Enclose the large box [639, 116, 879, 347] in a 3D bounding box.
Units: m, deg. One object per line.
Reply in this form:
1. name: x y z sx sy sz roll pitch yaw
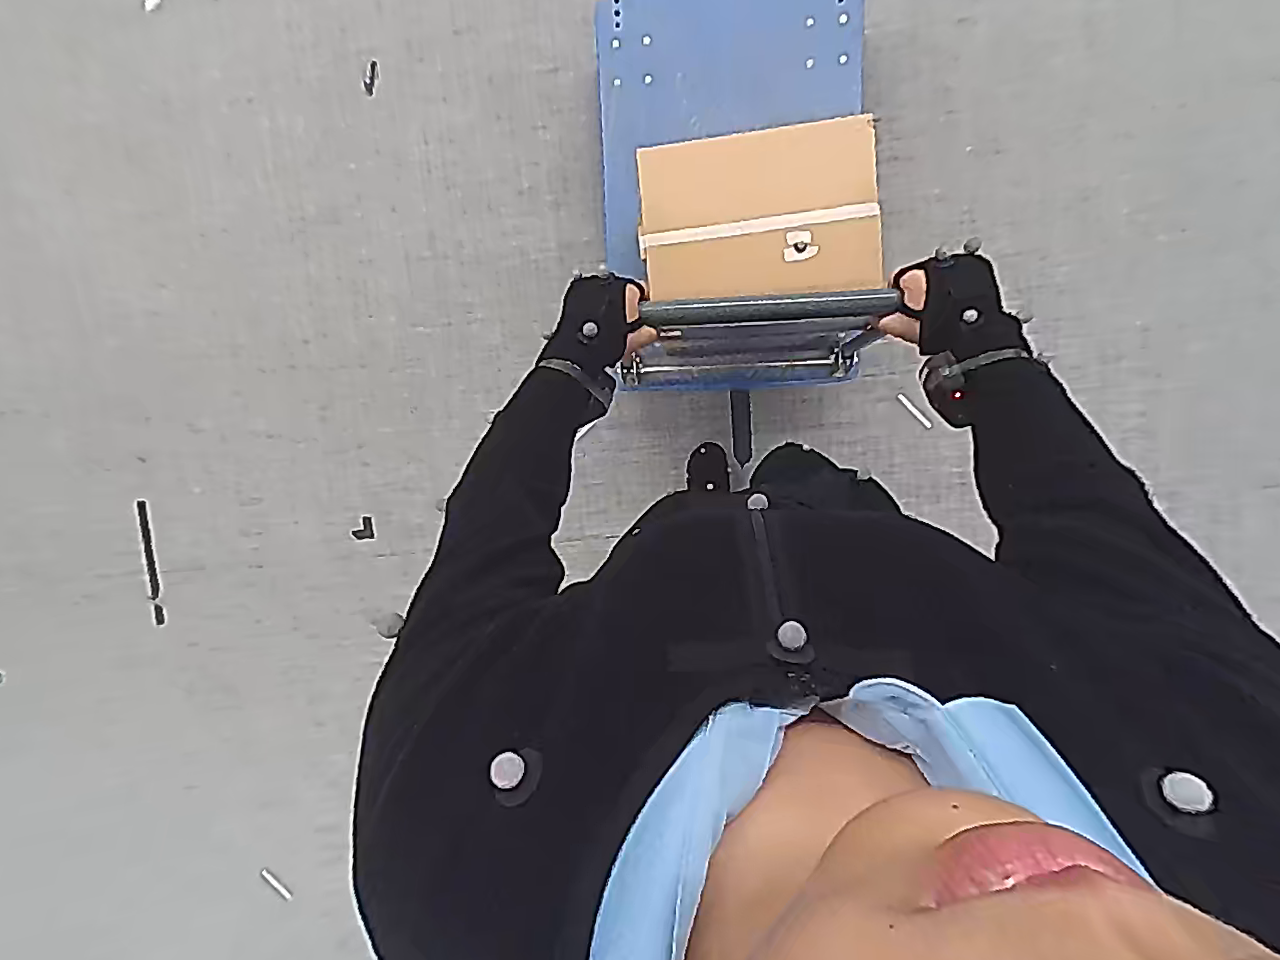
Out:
1. large box: 0.221 -0.468 1.104 0.408 0.320 0.320 -5 97 5
